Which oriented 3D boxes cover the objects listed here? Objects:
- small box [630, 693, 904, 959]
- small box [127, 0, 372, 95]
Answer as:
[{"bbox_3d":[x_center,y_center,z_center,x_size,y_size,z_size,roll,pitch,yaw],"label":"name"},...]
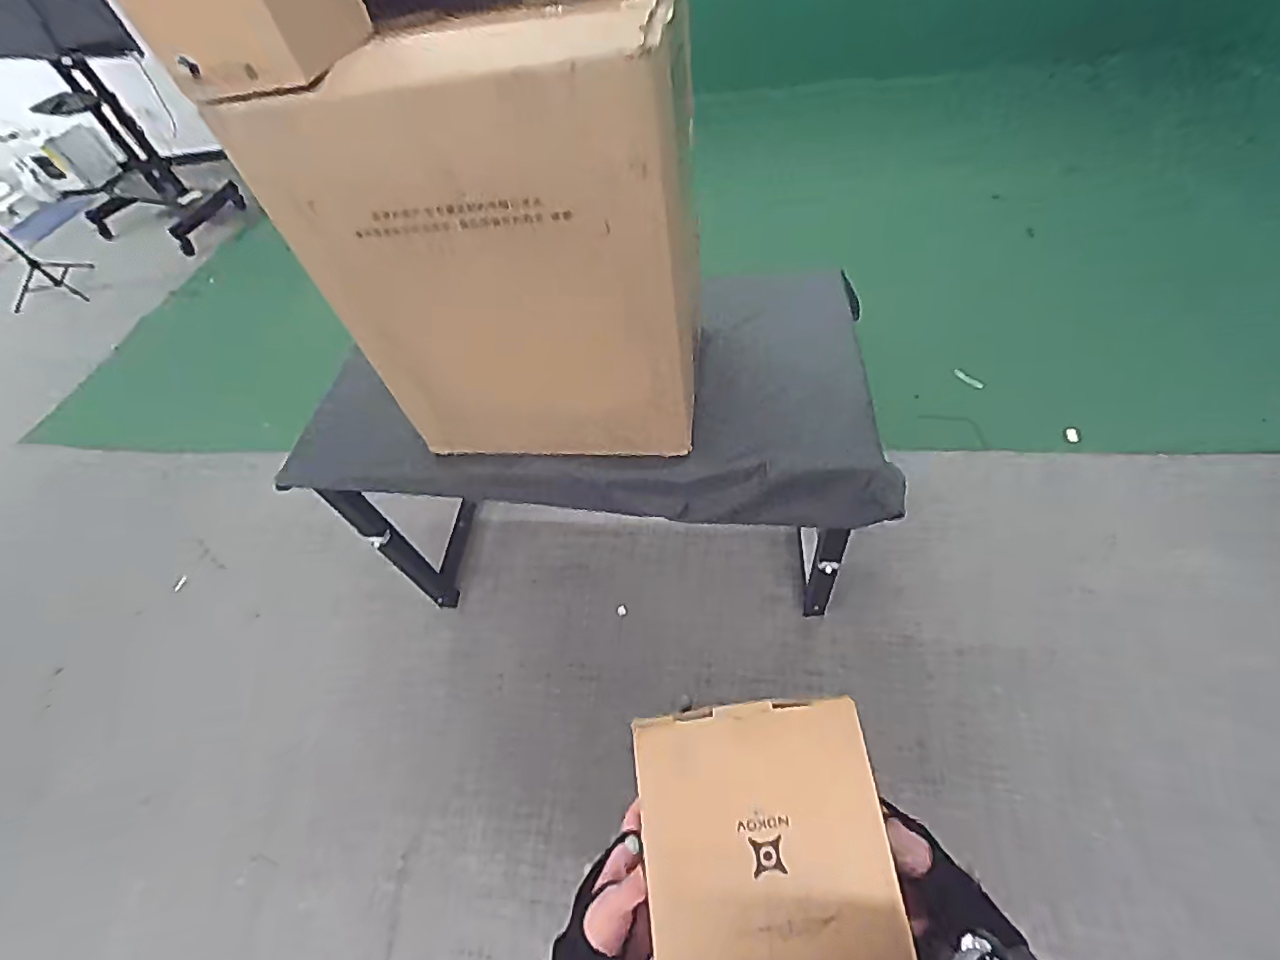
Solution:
[{"bbox_3d":[0.080,0.275,0.439,0.168,0.176,0.179,-6,69,-1],"label":"small box"},{"bbox_3d":[-0.432,-0.546,0.590,0.168,0.176,0.179,2,54,13],"label":"small box"}]
